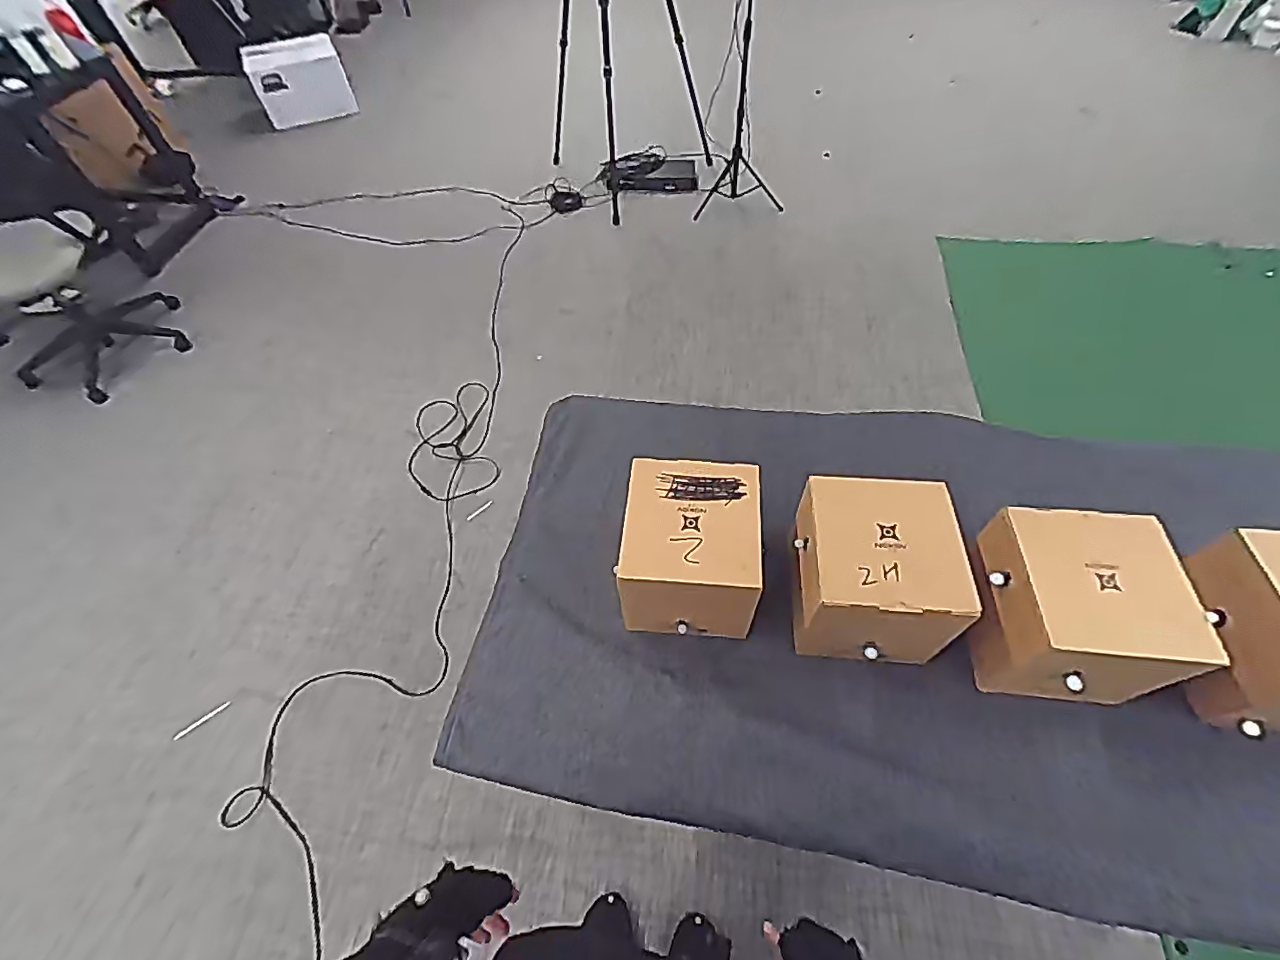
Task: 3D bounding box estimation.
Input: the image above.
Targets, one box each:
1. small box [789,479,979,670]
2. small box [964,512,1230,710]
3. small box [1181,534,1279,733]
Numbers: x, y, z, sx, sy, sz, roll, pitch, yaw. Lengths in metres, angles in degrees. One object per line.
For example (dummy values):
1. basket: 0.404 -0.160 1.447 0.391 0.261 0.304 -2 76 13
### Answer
1. small box: 0.286 0.121 0.683 0.168 0.176 0.179 3 54 7
2. small box: 0.505 0.160 0.643 0.168 0.176 0.179 4 53 6
3. small box: 0.742 0.182 0.608 0.168 0.176 0.179 4 53 6
